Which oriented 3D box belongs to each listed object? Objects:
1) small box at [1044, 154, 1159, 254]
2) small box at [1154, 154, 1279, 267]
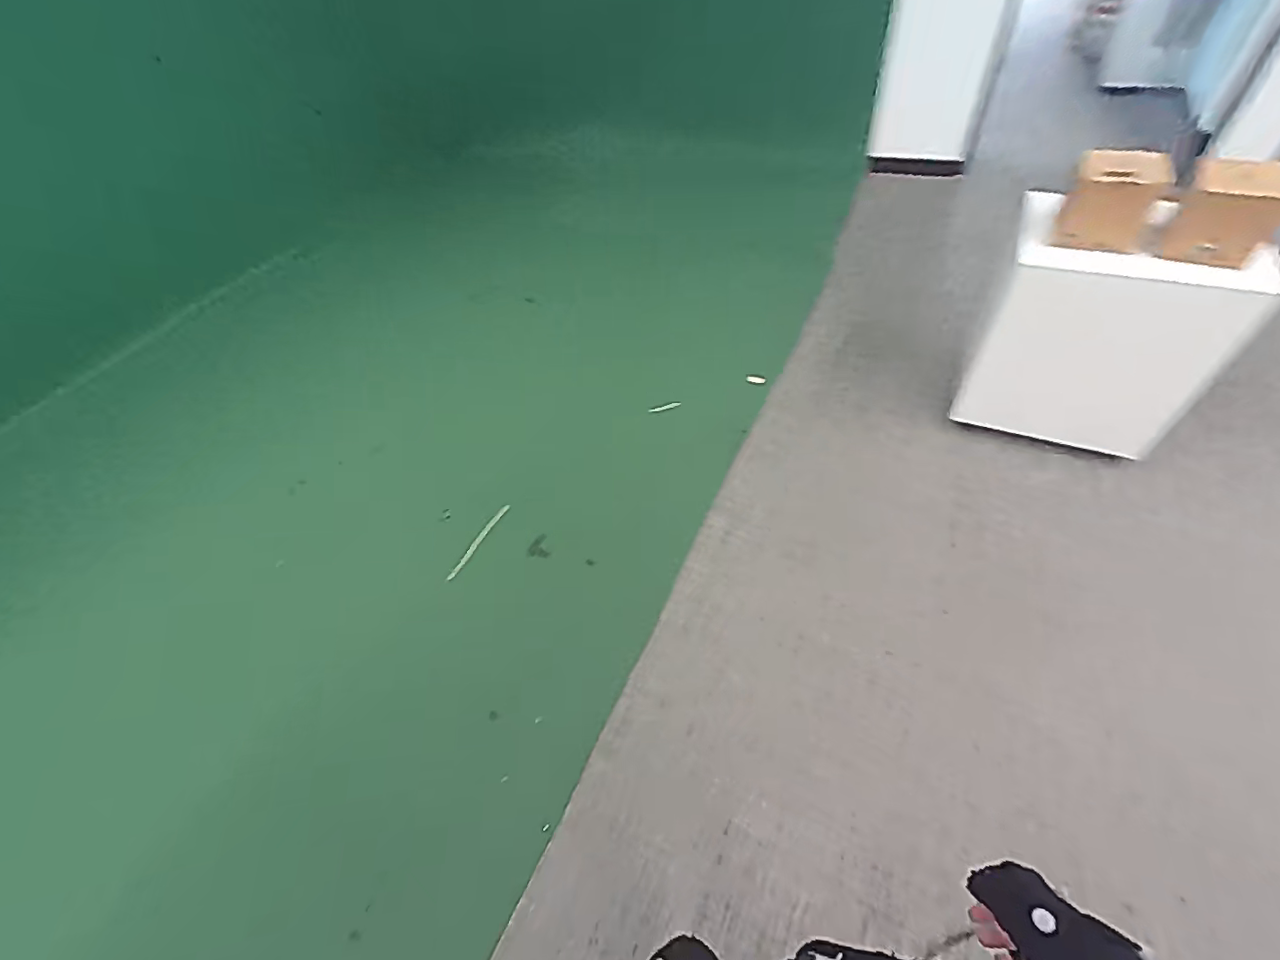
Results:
[{"bbox_3d":[1.143,-0.687,1.352,0.168,0.176,0.179,17,55,21],"label":"small box"},{"bbox_3d":[1.337,-0.622,1.248,0.168,0.176,0.179,21,59,25],"label":"small box"}]
